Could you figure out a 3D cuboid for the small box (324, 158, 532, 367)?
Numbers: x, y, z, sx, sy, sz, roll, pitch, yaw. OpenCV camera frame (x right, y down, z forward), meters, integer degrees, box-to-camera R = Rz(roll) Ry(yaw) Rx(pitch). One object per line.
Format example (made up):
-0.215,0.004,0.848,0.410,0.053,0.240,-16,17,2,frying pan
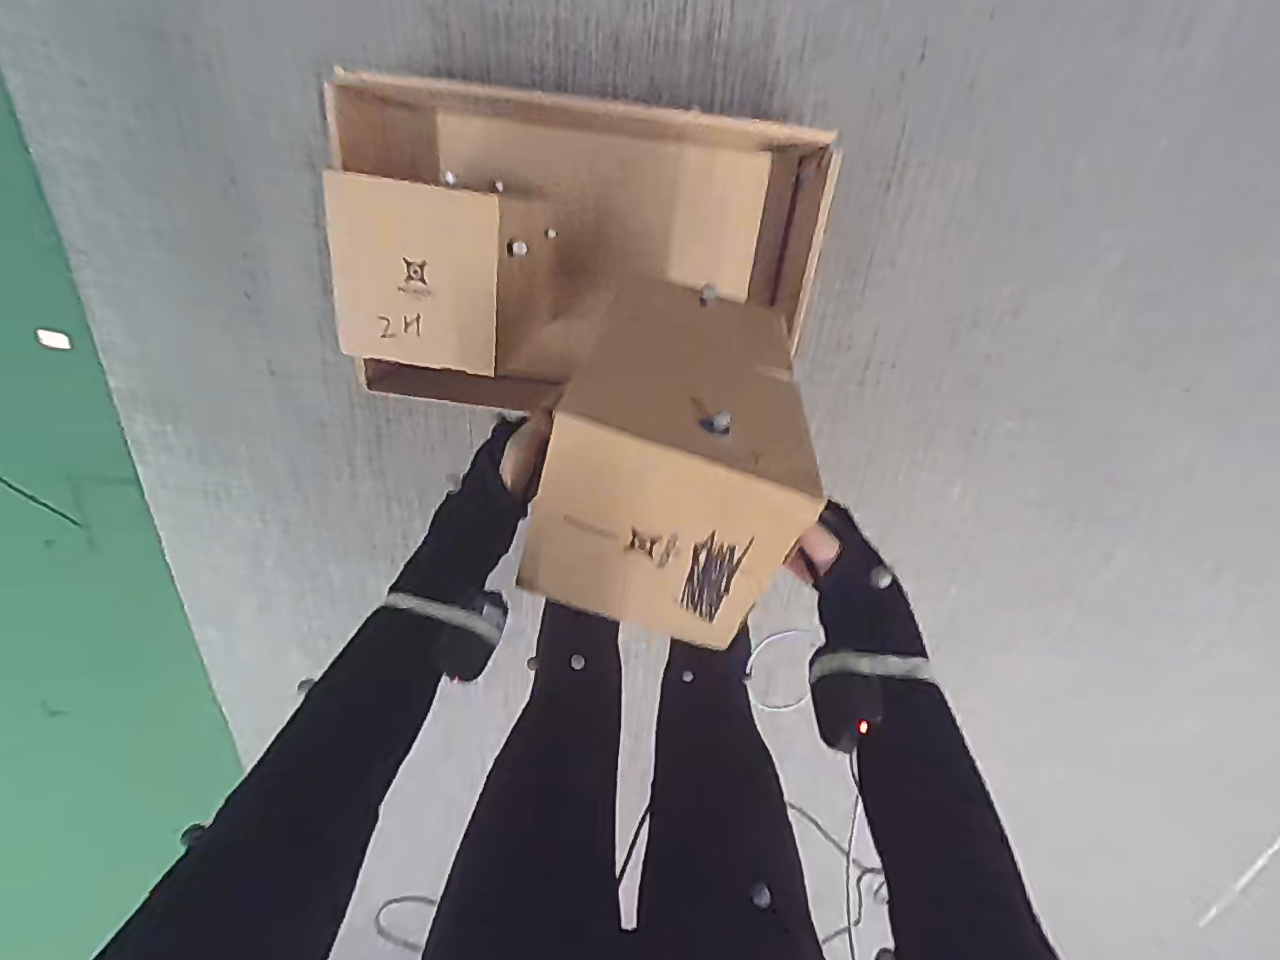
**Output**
-0.222,-0.245,0.611,0.168,0.176,0.179,9,117,-1,small box
